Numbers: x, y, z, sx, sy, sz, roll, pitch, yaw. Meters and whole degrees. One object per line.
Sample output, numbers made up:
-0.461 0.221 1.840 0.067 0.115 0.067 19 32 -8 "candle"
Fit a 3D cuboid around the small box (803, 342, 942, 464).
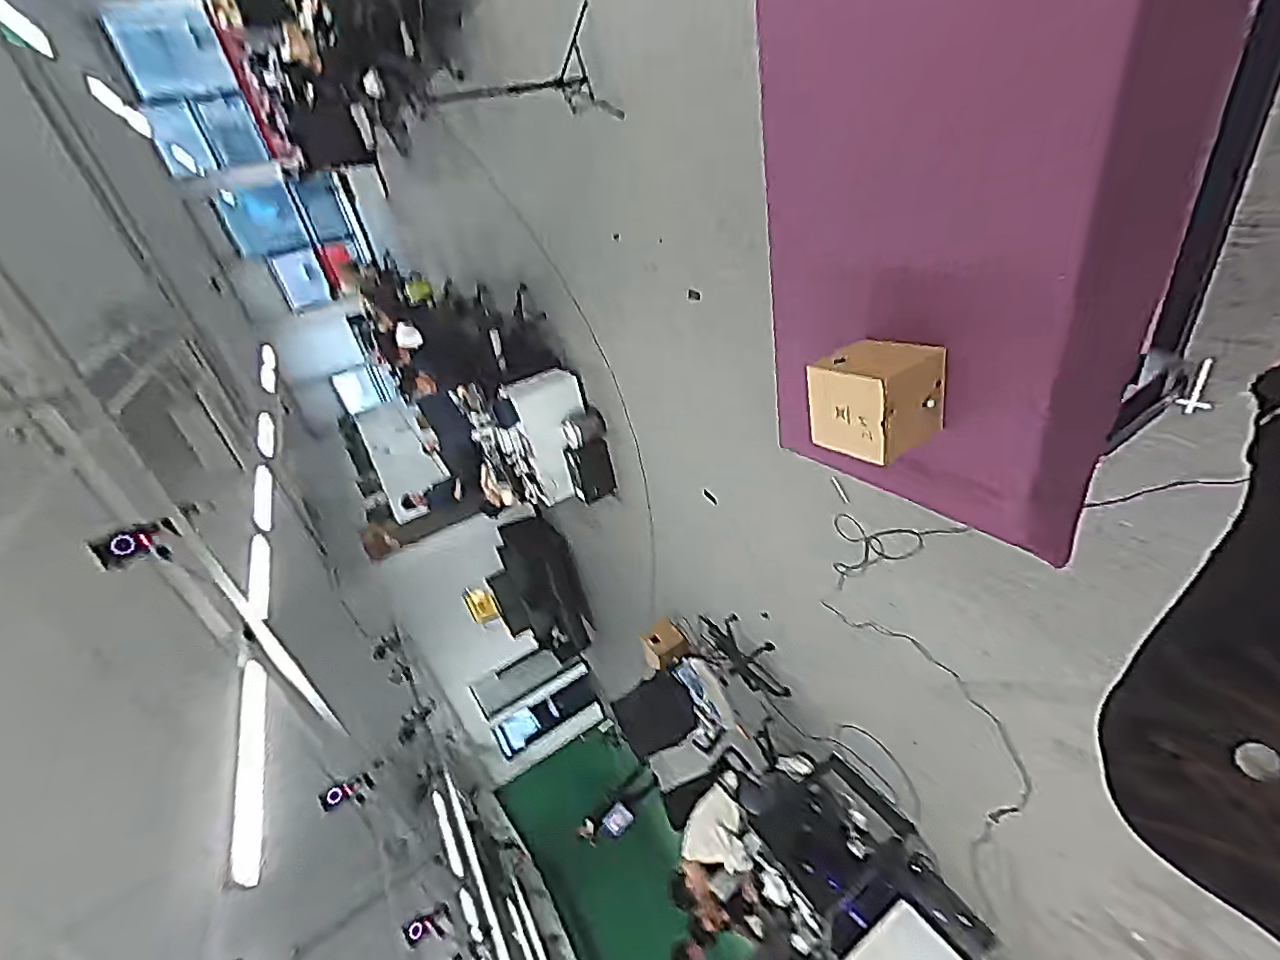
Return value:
0.440 -0.156 1.034 0.179 0.176 0.168 30 141 54 "small box"
